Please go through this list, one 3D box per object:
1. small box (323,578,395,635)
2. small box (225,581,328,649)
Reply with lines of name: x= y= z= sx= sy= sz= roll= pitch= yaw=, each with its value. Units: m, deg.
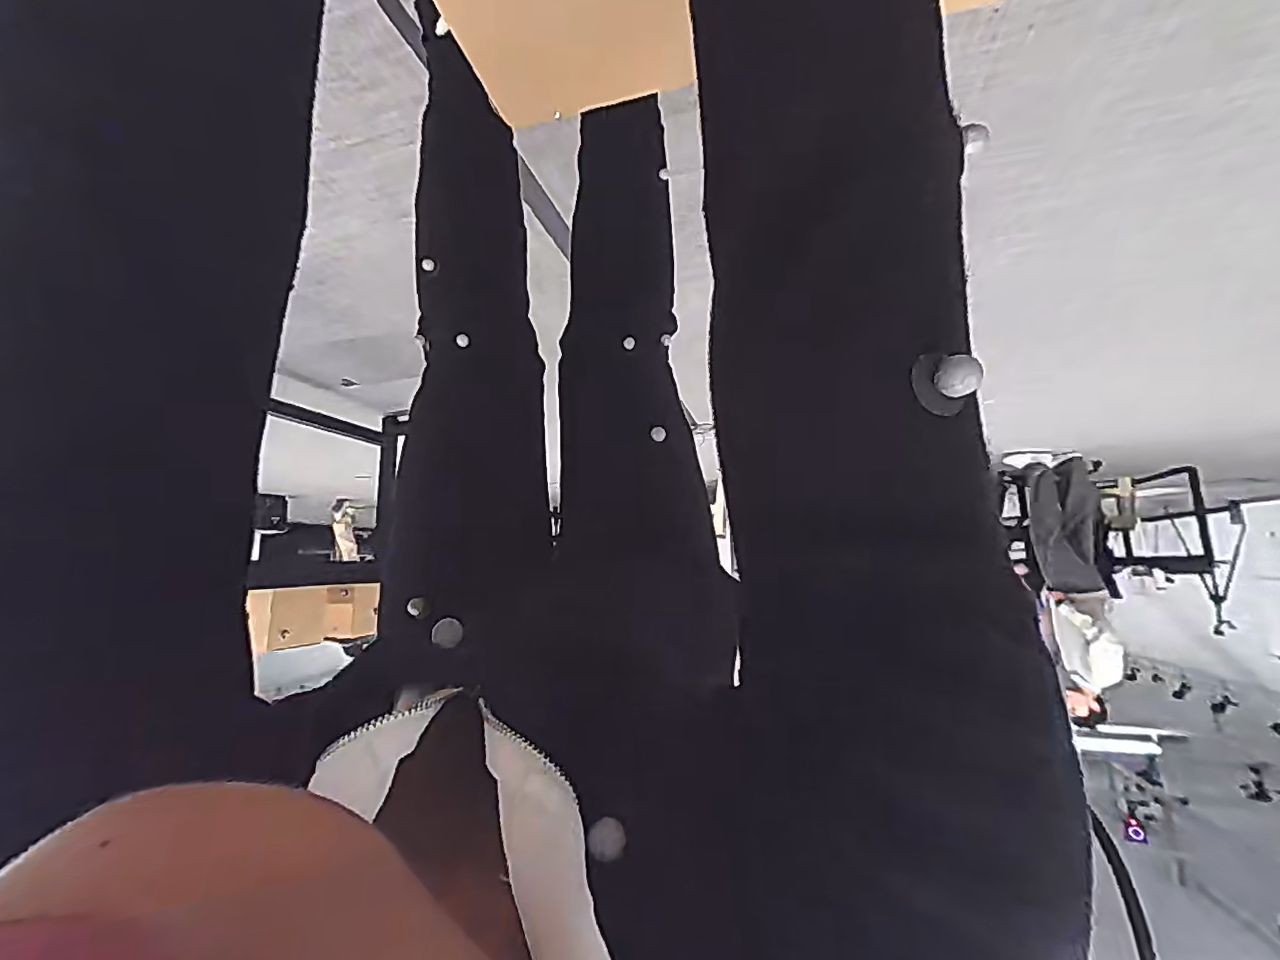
small box: x=-0.927 y=0.409 z=1.763 sx=0.168 sy=0.176 sz=0.179 roll=-3 pitch=172 yaw=16
small box: x=-1.006 y=0.371 z=1.508 sx=0.168 sy=0.176 sz=0.179 roll=-3 pitch=171 yaw=17
